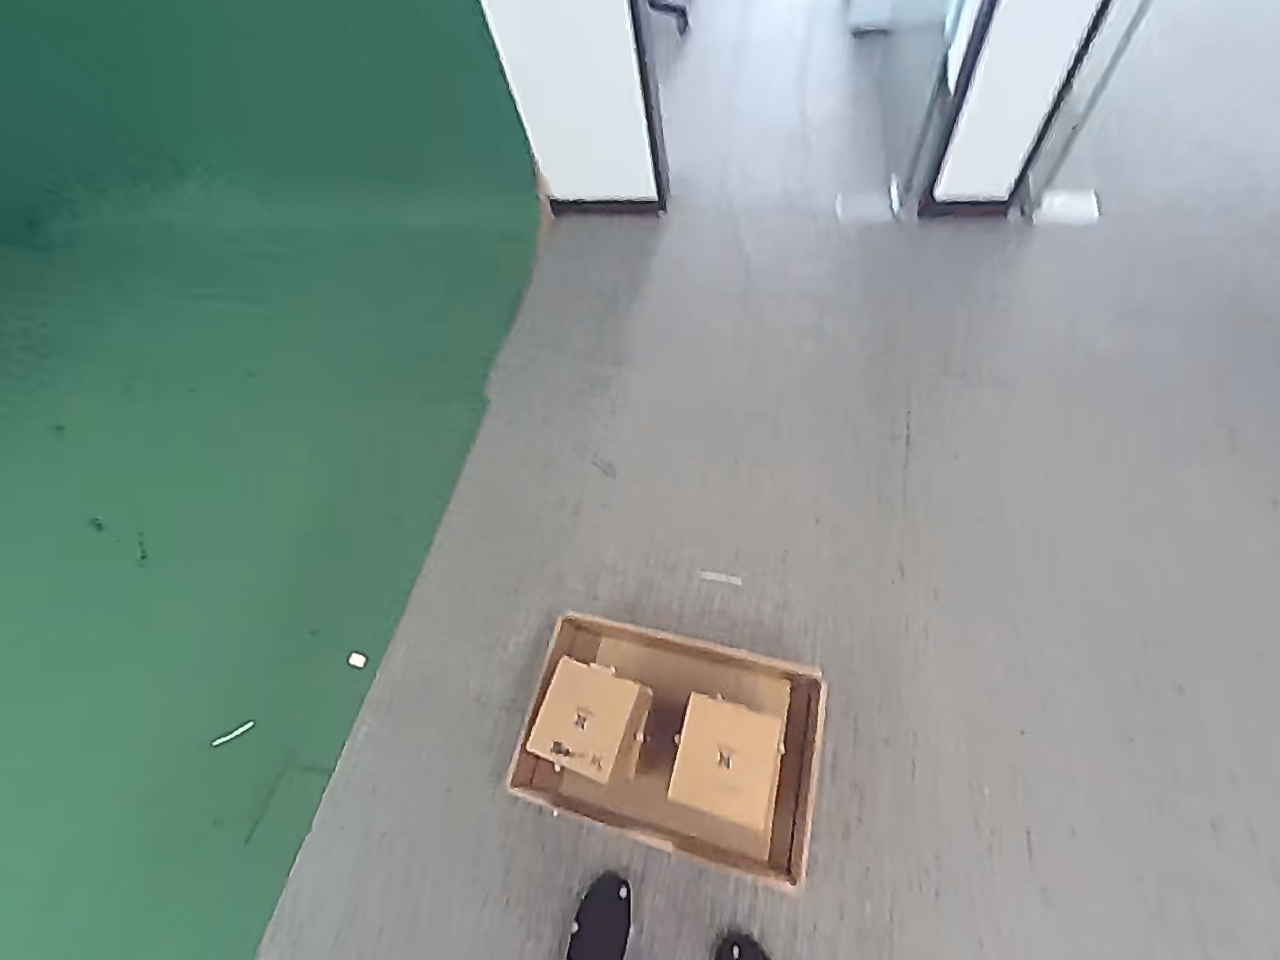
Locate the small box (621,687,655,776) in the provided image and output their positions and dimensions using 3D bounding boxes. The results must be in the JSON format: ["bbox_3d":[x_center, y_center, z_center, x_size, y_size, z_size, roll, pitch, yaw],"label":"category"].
[{"bbox_3d":[-0.067,0.548,1.221,0.168,0.176,0.179,9,65,12],"label":"small box"}]

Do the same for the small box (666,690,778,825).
[{"bbox_3d":[0.157,0.516,1.017,0.168,0.176,0.179,11,66,16],"label":"small box"}]

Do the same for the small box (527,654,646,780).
[{"bbox_3d":[-0.095,0.472,1.077,0.168,0.176,0.179,15,66,17],"label":"small box"}]
